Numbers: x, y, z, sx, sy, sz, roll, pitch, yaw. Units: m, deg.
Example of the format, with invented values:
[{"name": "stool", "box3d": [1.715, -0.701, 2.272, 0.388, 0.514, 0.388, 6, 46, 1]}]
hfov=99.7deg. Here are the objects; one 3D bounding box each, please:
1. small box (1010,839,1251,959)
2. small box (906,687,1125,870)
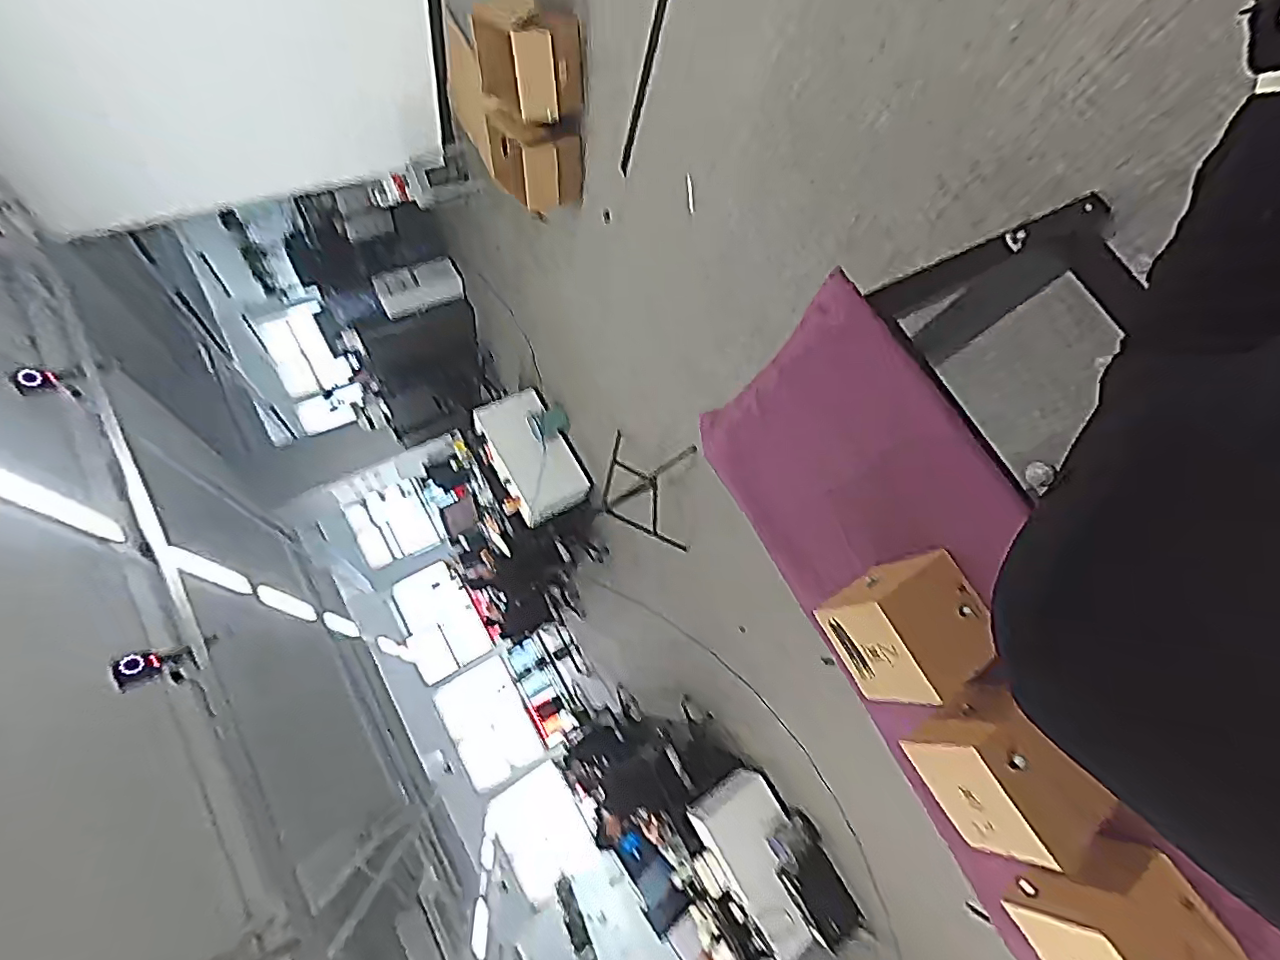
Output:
[{"name": "small box", "box3d": [0.691, 0.643, 0.763, 0.168, 0.176, 0.179, 56, 158, 18]}, {"name": "small box", "box3d": [0.558, 0.430, 0.816, 0.179, 0.176, 0.168, 57, 158, 15]}]
